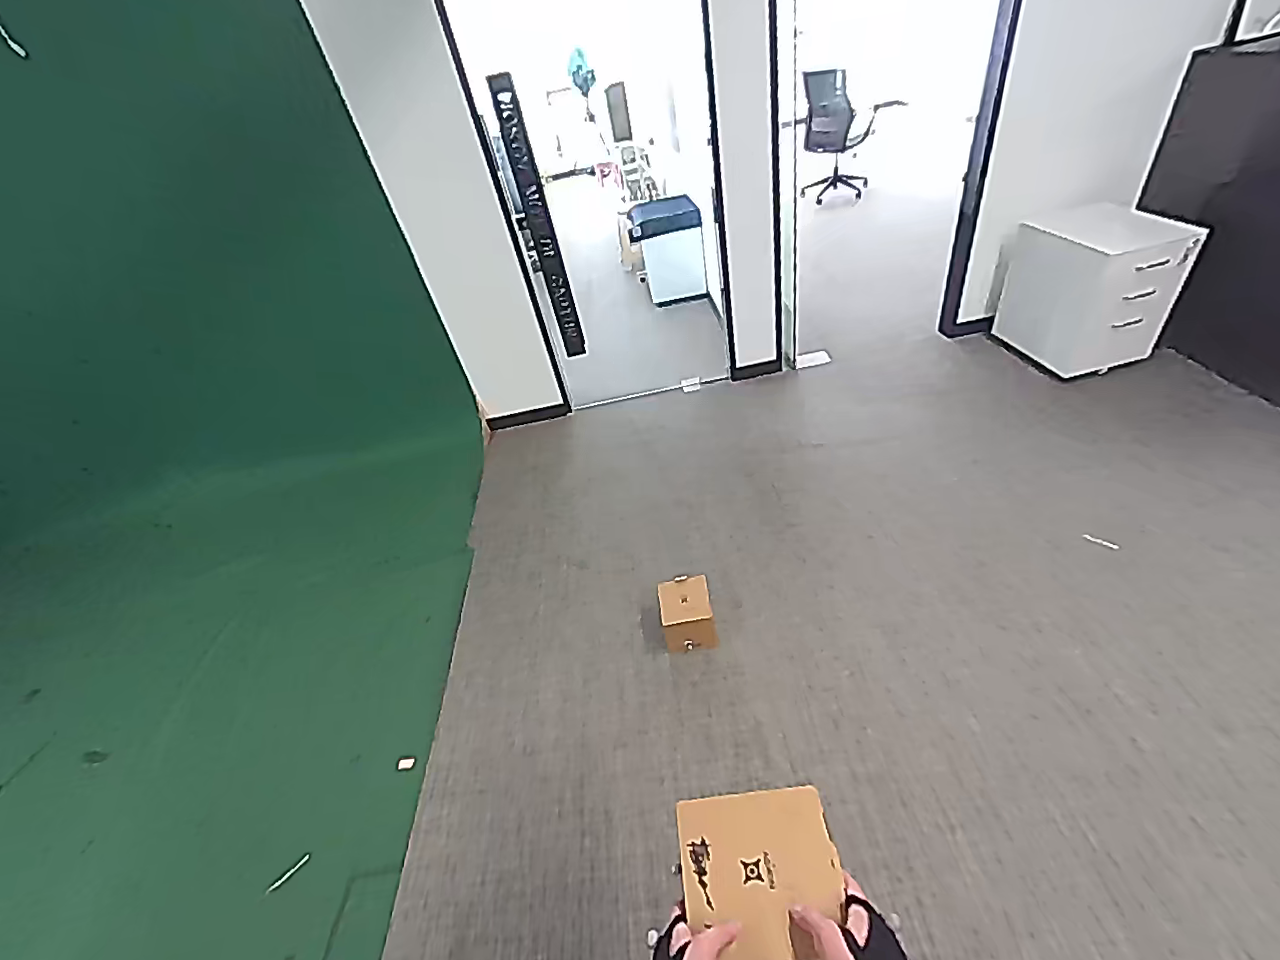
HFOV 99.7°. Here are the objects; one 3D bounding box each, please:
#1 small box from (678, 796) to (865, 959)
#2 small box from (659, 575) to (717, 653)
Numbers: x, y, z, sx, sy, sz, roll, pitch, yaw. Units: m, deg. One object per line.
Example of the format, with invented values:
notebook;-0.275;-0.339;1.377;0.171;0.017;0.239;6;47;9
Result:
small box;0.143;0.505;0.642;0.179;0.176;0.168;-7;35;3
small box;0.159;0.448;1.805;0.168;0.176;0.179;-11;39;7
